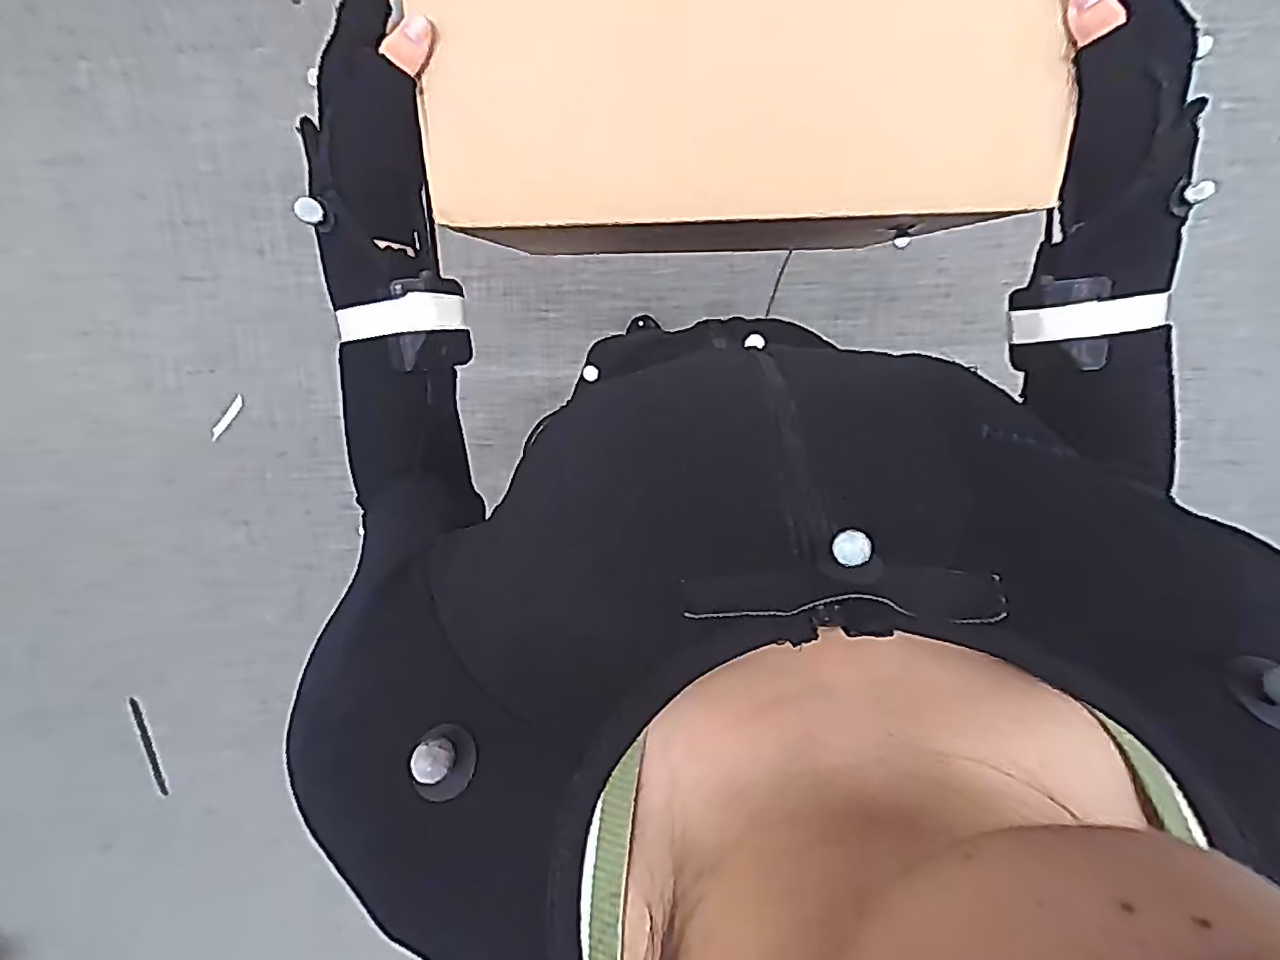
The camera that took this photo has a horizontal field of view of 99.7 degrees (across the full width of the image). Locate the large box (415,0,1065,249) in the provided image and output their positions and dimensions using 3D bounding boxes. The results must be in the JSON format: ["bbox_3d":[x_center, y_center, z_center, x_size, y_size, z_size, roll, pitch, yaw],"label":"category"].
[{"bbox_3d":[0.062,-0.374,0.457,0.408,0.320,0.320,-1,109,1],"label":"large box"}]
